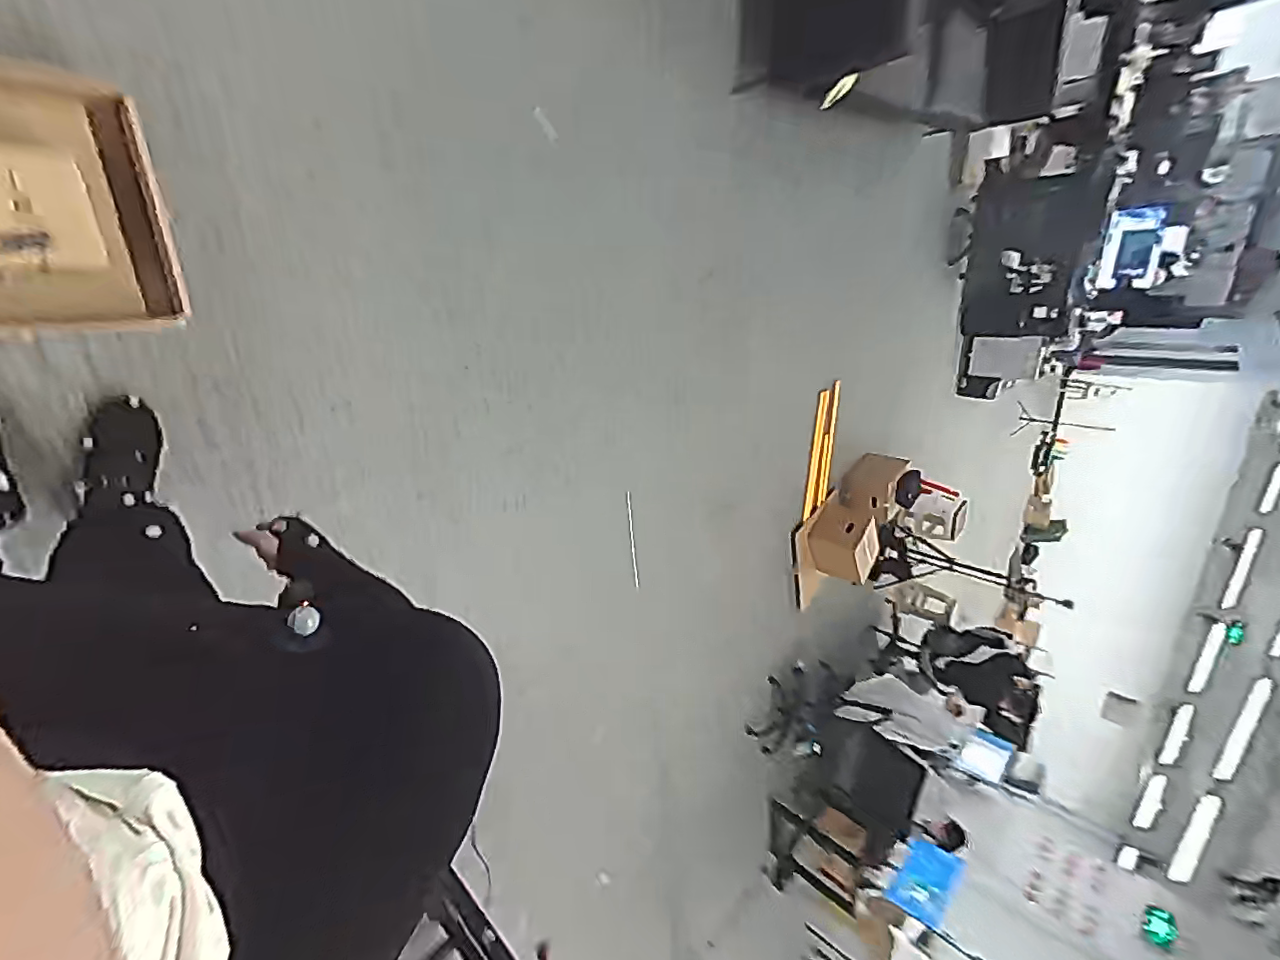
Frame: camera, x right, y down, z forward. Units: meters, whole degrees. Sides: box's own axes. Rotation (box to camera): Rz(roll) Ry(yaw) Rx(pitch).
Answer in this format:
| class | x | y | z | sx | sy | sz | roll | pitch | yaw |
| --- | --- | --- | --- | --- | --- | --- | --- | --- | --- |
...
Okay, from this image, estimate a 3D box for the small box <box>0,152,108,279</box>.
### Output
| class | x | y | z | sx | sy | sz | roll | pitch | yaw |
| --- | --- | --- | --- | --- | --- | --- | --- | --- | --- |
| small box | -1.026 | -0.432 | 0.902 | 0.168 | 0.176 | 0.179 | -20 | 114 | -41 |
